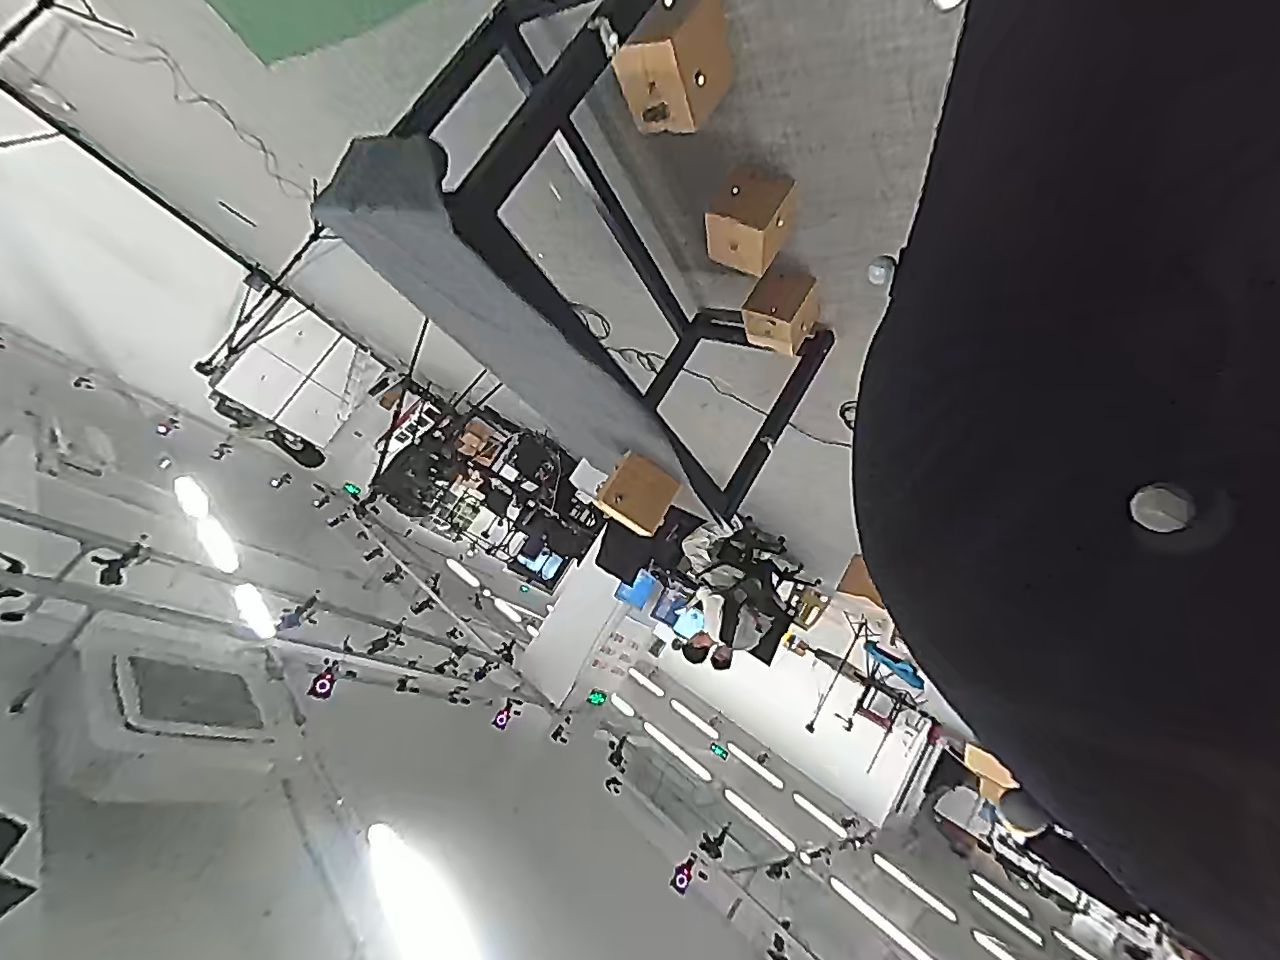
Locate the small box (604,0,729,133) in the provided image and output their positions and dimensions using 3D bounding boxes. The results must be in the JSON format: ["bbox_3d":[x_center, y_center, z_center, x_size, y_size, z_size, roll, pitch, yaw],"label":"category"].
[{"bbox_3d":[0.063,-0.859,1.119,0.168,0.176,0.179,25,167,33],"label":"small box"}]

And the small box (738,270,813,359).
[{"bbox_3d":[0.426,-0.514,1.680,0.168,0.176,0.179,27,169,26],"label":"small box"}]

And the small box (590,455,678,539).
[{"bbox_3d":[-0.017,0.049,1.531,0.179,0.176,0.168,34,170,-9],"label":"small box"}]

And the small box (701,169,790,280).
[{"bbox_3d":[0.276,-0.666,1.406,0.168,0.176,0.179,29,171,19],"label":"small box"}]
